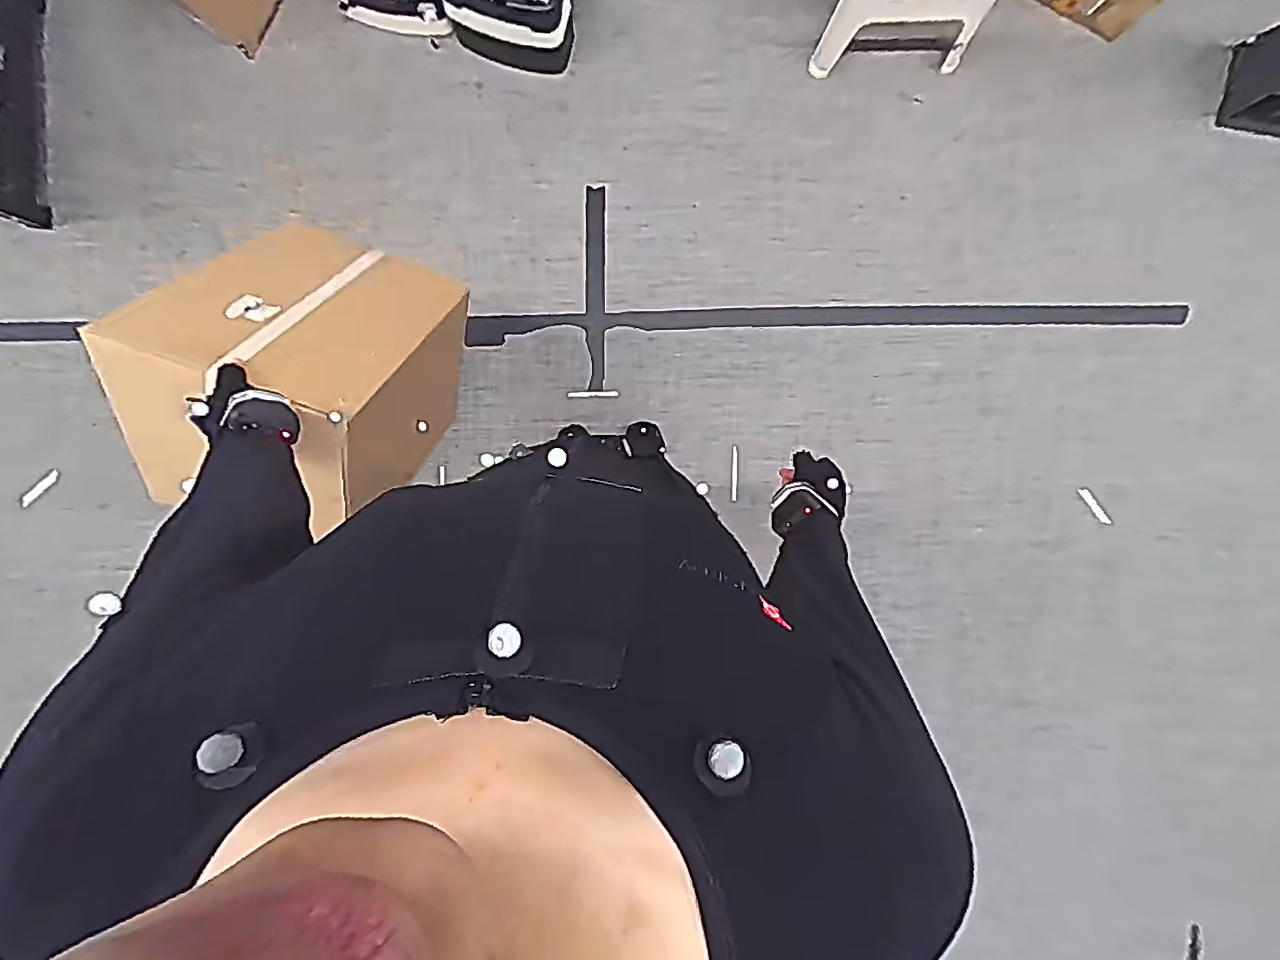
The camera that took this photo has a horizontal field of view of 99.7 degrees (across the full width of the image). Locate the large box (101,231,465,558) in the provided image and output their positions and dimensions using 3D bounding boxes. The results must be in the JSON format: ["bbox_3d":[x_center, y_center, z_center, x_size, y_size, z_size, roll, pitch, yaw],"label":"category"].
[{"bbox_3d":[-0.528,-0.149,0.908,0.320,0.408,0.320,19,133,-5],"label":"large box"}]
